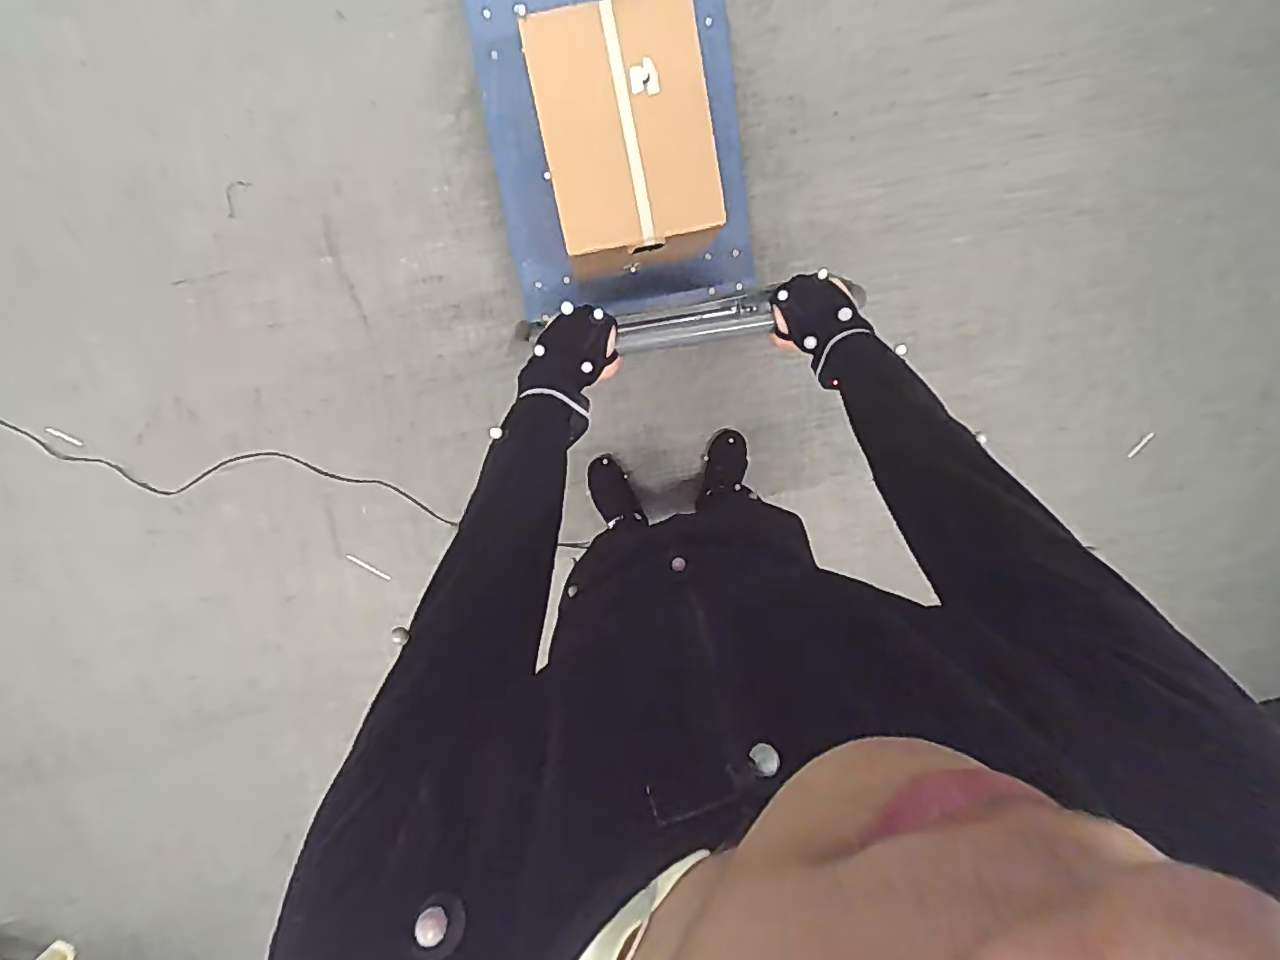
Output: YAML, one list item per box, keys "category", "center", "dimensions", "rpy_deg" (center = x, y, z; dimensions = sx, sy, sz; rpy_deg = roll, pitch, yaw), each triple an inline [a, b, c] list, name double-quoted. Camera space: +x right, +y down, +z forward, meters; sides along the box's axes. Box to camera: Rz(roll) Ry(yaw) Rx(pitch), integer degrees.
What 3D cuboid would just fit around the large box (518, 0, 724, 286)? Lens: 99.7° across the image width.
- category: "large box"
  center: [-0.033, -0.671, 1.152]
  dimensions: [0.320, 0.320, 0.408]
  rpy_deg: [-12, 101, -1]
